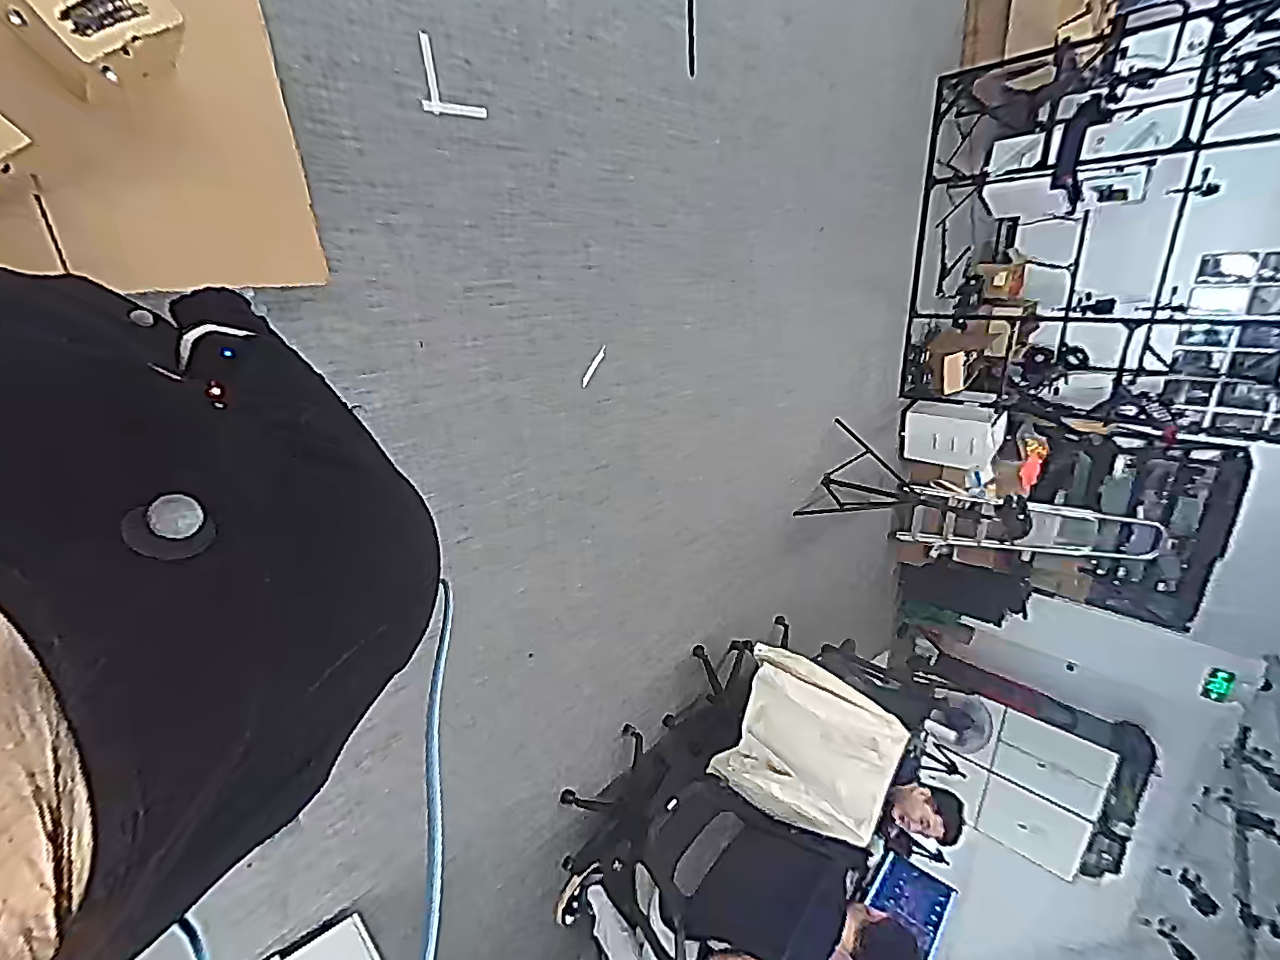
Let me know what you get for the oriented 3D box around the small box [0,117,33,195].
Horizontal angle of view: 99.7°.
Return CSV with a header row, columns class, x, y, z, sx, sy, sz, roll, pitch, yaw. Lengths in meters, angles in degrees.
class,x,y,z,sx,sy,sz,roll,pitch,yaw
small box,-0.982,-0.458,0.718,0.179,0.176,0.168,-58,133,-22
